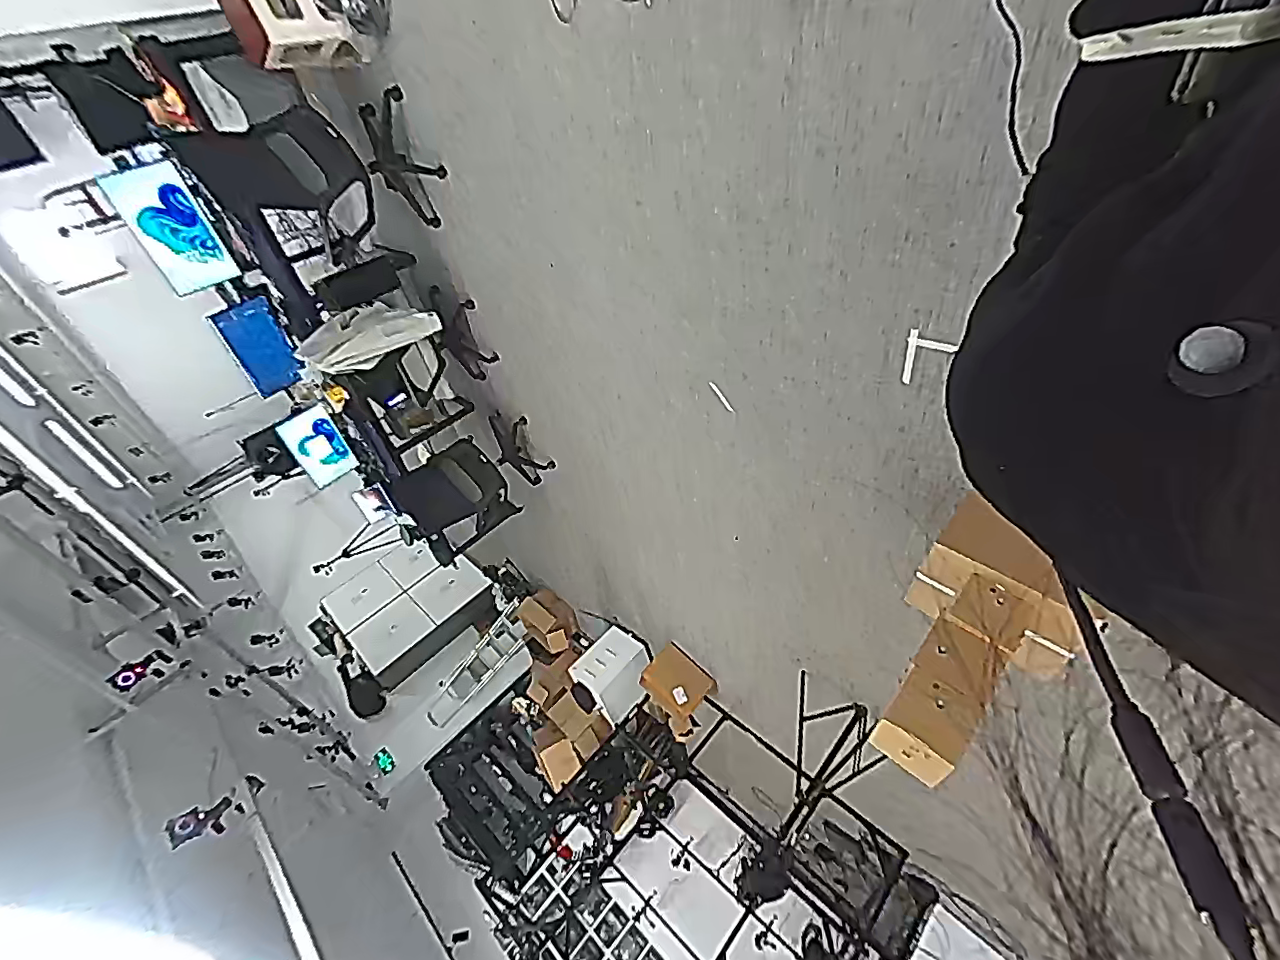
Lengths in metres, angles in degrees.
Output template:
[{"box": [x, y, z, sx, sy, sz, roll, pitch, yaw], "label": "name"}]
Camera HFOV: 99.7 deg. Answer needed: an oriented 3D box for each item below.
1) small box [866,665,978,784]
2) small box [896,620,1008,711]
[{"box": [0.682, 0.588, 1.309, 0.168, 0.176, 0.179, 32, 148, 30], "label": "small box"}, {"box": [0.791, 0.485, 1.378, 0.179, 0.176, 0.168, 30, 147, 32], "label": "small box"}]
